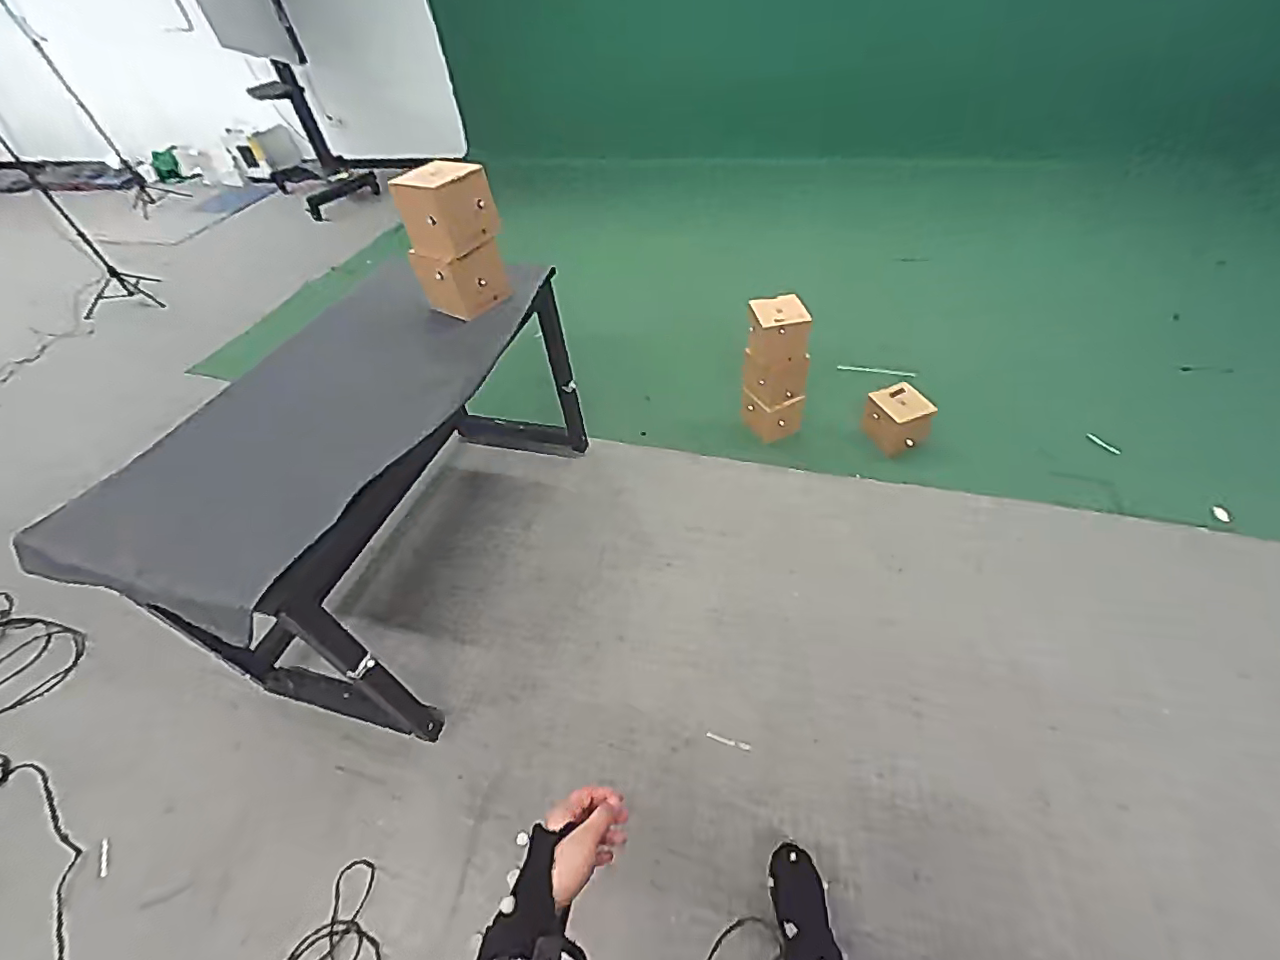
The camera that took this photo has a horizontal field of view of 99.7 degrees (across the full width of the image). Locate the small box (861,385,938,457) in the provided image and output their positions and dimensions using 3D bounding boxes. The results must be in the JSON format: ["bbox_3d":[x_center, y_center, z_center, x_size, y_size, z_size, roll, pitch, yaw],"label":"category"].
[{"bbox_3d":[0.939,-0.215,1.976,0.168,0.176,0.179,-19,48,-10],"label":"small box"}]

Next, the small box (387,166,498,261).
[{"bbox_3d":[-0.489,-0.672,1.368,0.179,0.176,0.168,20,52,27],"label":"small box"}]

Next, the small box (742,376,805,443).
[{"bbox_3d":[0.510,-0.264,2.085,0.168,0.176,0.179,-24,48,-14],"label":"small box"}]

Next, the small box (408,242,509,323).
[{"bbox_3d":[-0.486,-0.549,1.476,0.179,0.176,0.168,25,55,30],"label":"small box"}]

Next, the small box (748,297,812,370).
[{"bbox_3d":[0.474,-0.503,1.861,0.168,0.176,0.179,-10,46,-1],"label":"small box"}]
